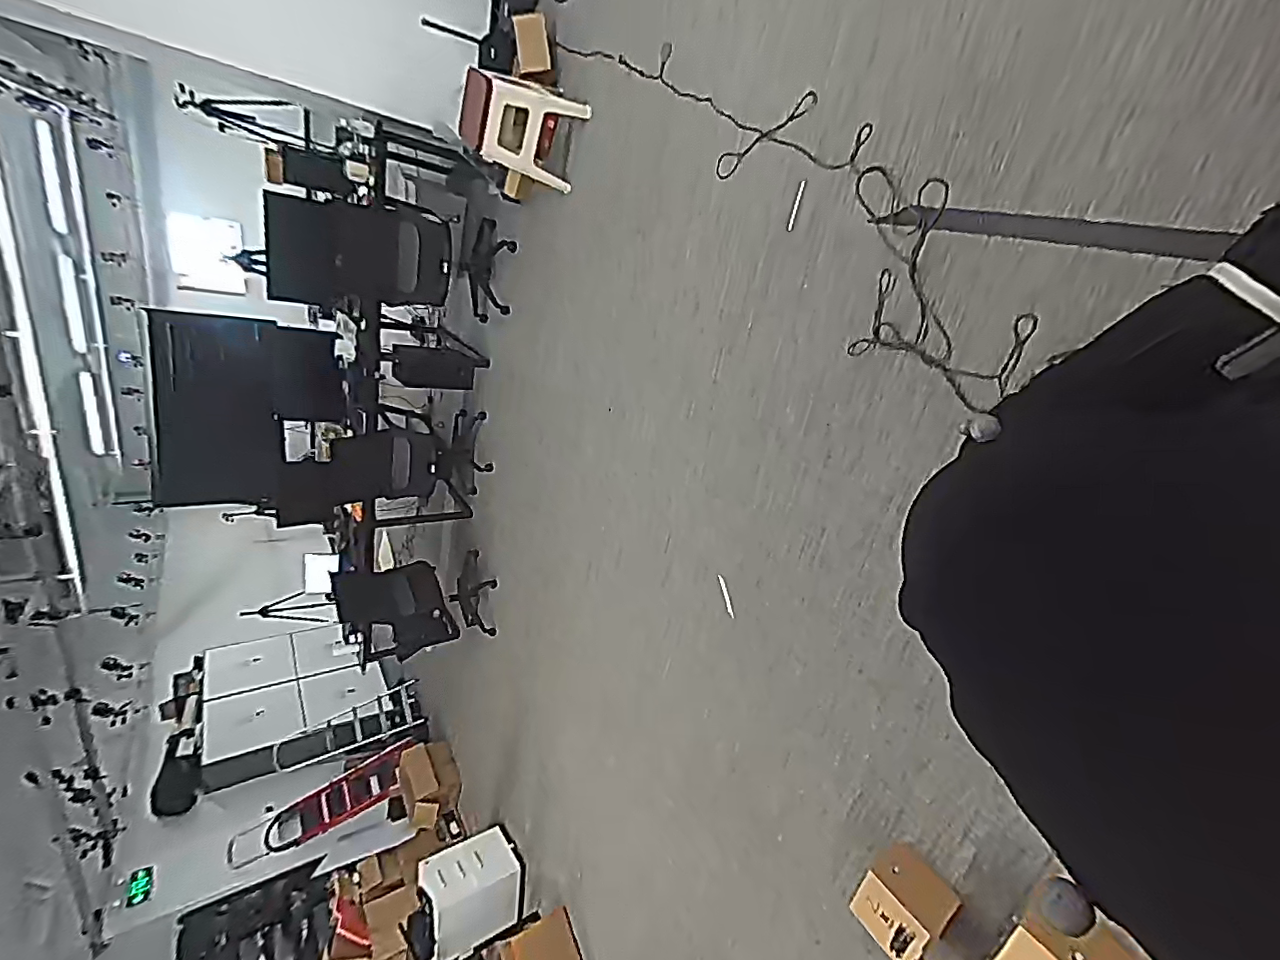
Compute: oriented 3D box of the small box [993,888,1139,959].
[{"bbox_3d":[0.914,1.029,1.164,0.179,0.176,0.168,35,121,45],"label":"small box"}]
